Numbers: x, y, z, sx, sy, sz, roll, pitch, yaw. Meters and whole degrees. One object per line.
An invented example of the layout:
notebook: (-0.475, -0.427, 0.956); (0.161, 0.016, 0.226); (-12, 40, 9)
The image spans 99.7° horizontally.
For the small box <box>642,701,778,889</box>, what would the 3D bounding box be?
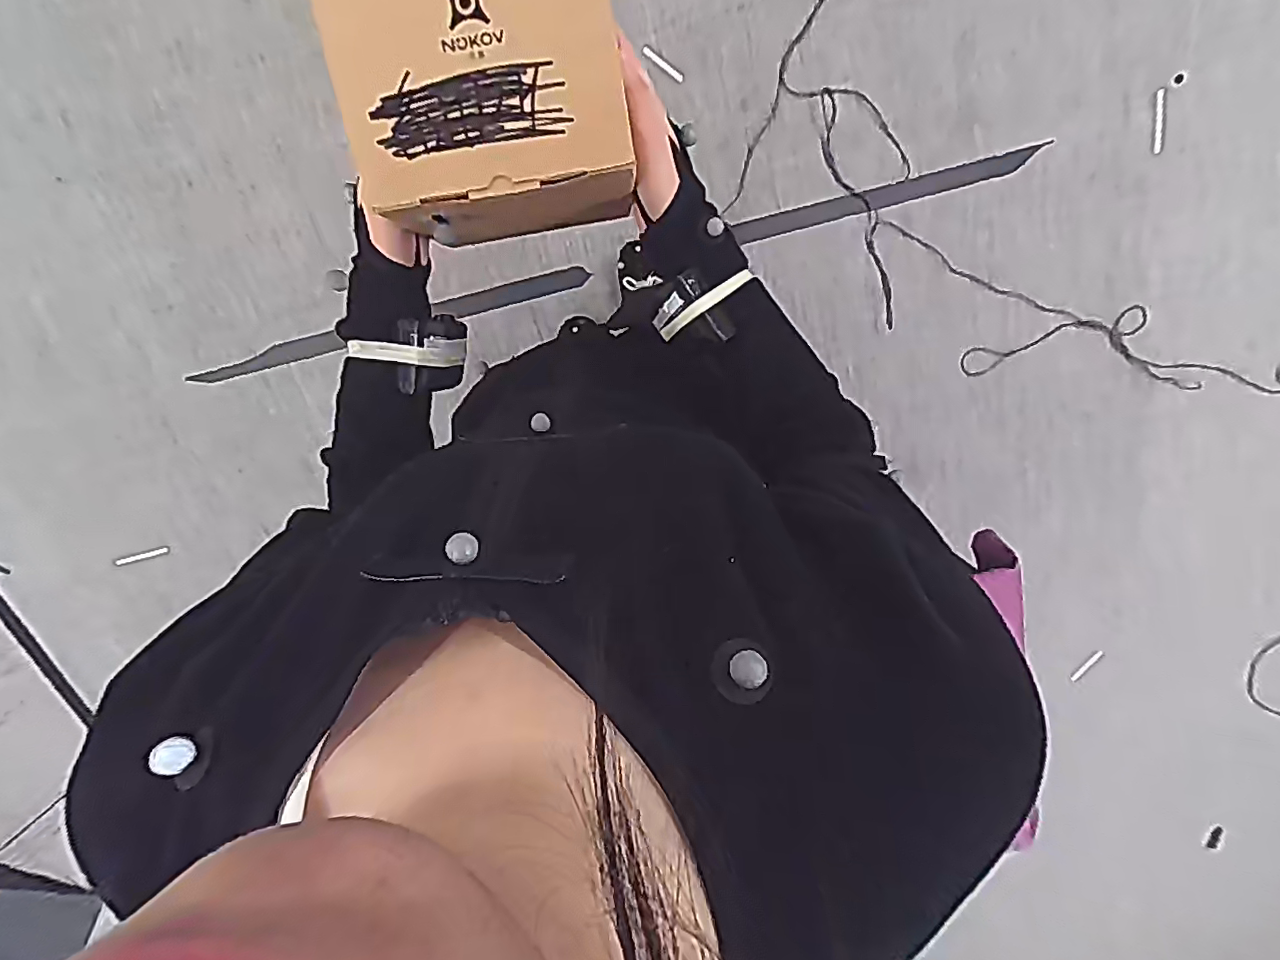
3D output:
small box: (0.103, 0.482, 0.844); (0.168, 0.176, 0.179); (-13, 110, 0)
